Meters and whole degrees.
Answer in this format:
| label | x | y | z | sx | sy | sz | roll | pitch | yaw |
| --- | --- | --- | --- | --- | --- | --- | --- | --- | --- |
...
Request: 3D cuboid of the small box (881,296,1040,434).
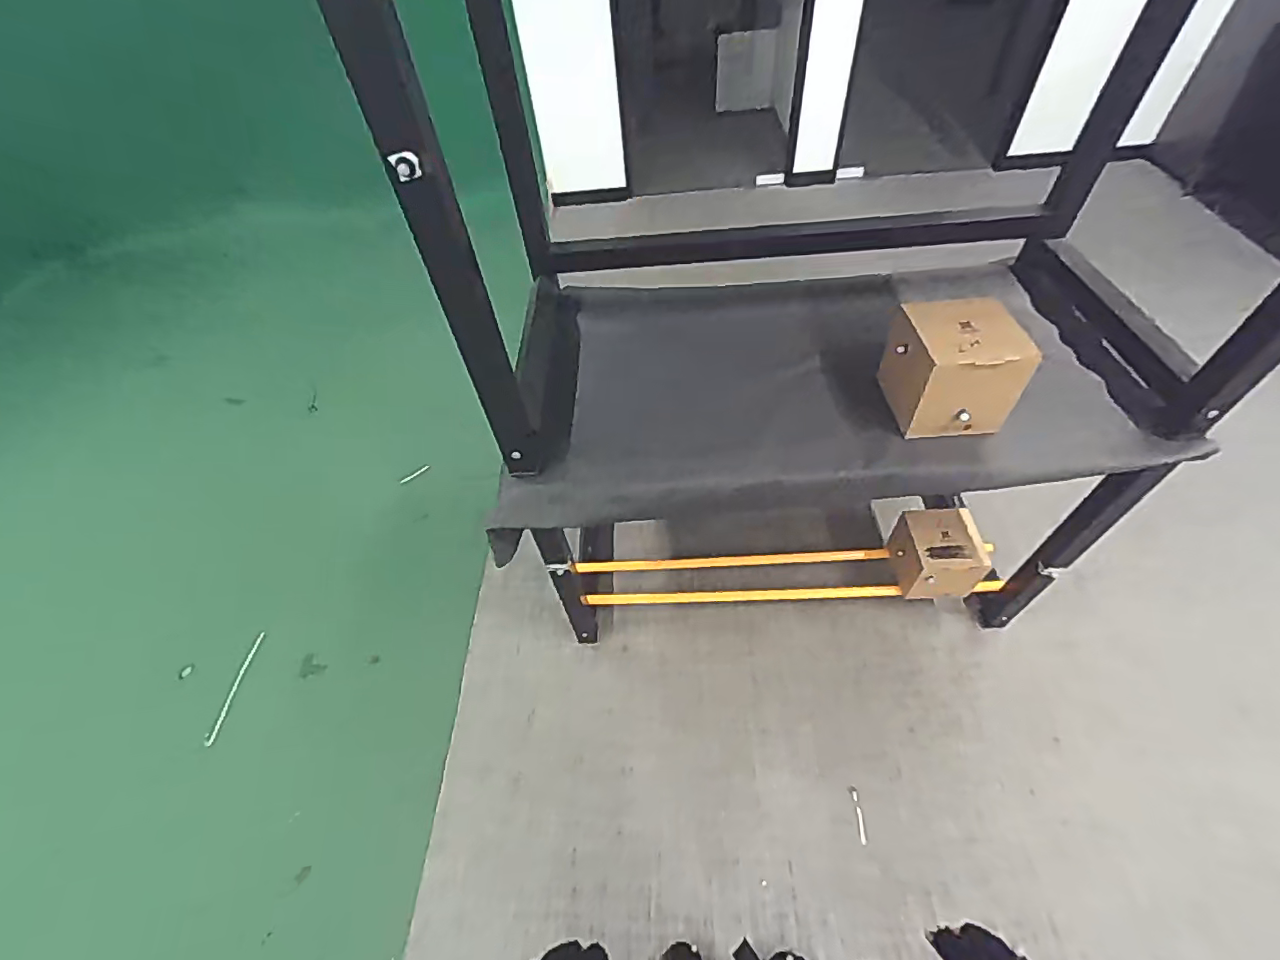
| label | x | y | z | sx | sy | sz | roll | pitch | yaw |
| --- | --- | --- | --- | --- | --- | --- | --- | --- | --- |
| small box | 0.550 | -0.203 | 0.962 | 0.168 | 0.176 | 0.179 | -4 | 50 | 4 |
